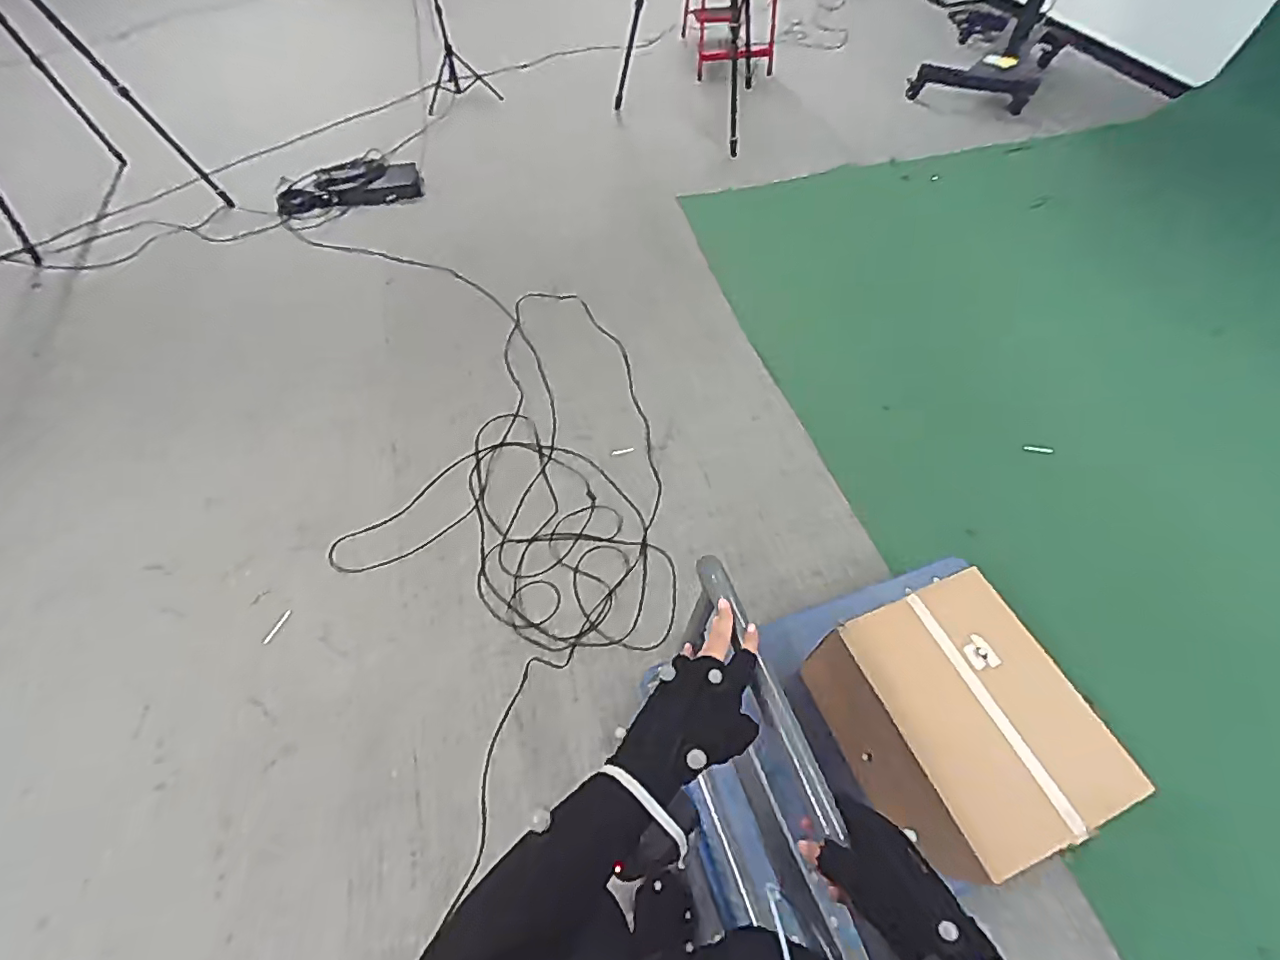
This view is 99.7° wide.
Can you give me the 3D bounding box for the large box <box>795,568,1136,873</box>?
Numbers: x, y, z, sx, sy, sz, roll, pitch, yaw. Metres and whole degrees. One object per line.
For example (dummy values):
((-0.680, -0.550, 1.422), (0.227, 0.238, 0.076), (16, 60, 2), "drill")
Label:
((0.559, 0.451, 1.031), (0.320, 0.320, 0.408), (-19, 58, -12), "large box")
